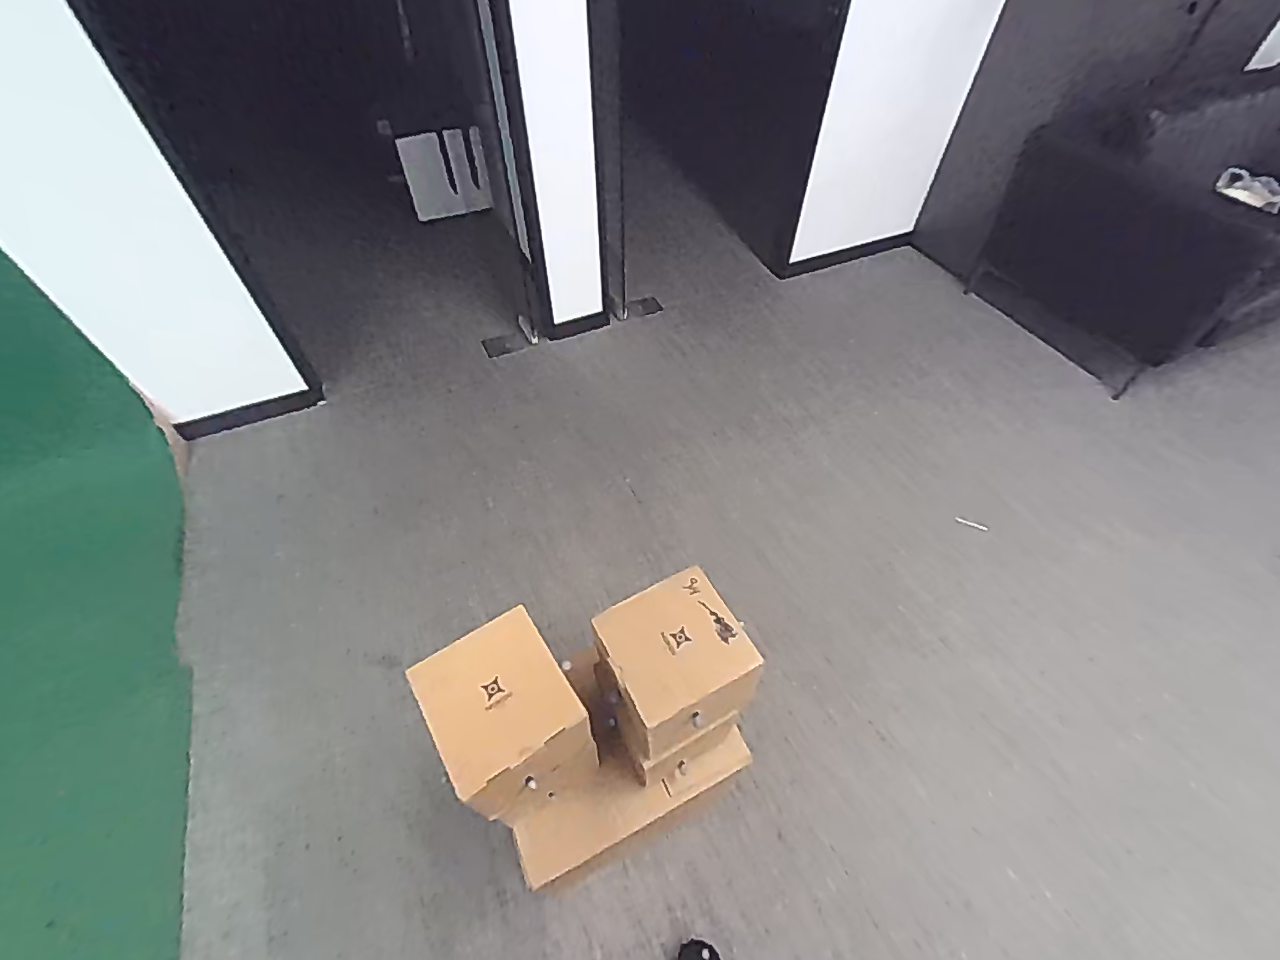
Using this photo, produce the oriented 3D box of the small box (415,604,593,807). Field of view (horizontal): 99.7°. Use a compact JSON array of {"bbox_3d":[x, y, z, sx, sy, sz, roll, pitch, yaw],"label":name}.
[{"bbox_3d":[-0.177,0.309,0.737,0.168,0.176,0.179,-27,59,-22],"label":"small box"}]
